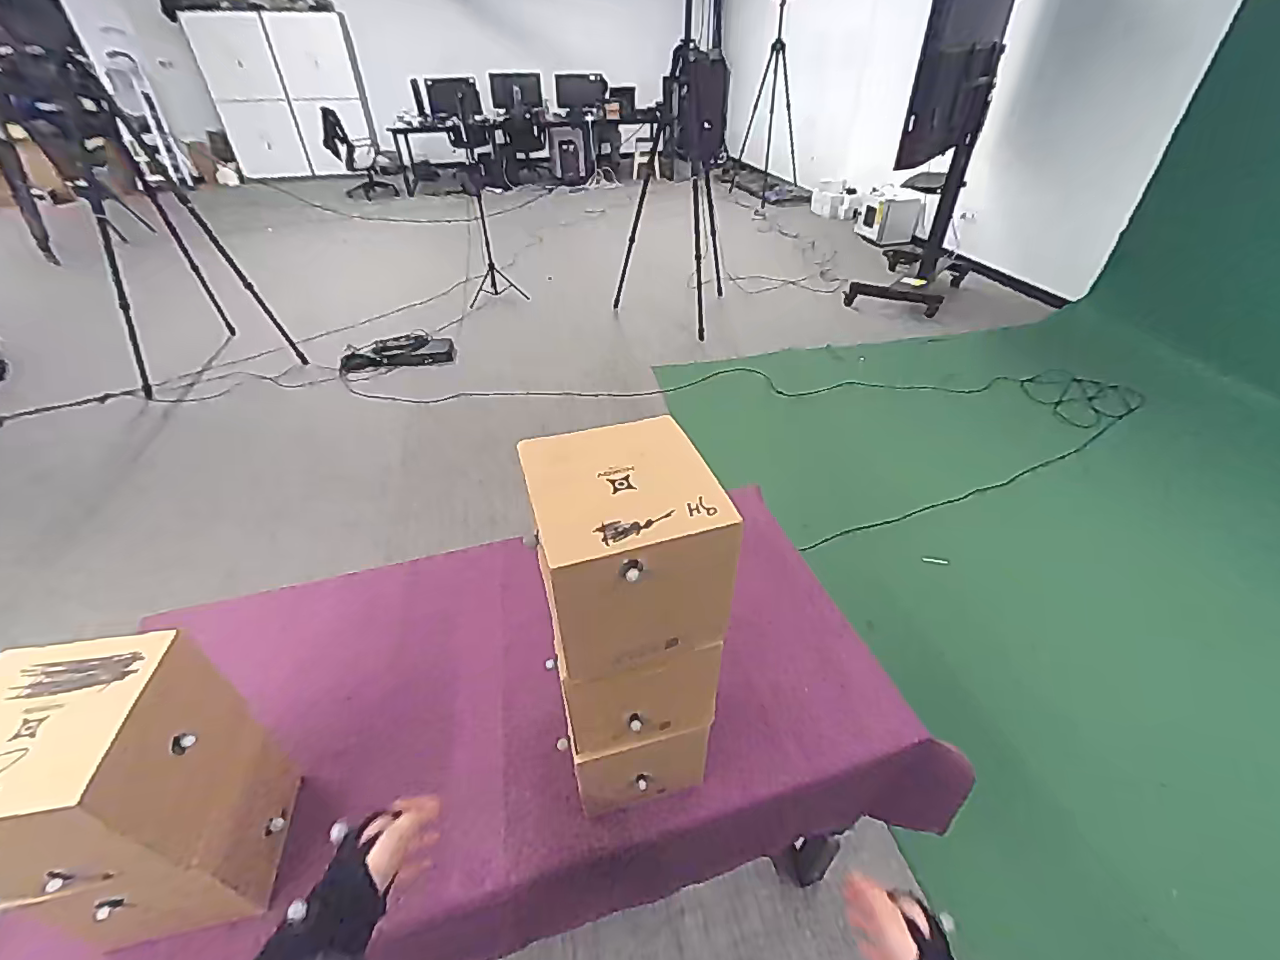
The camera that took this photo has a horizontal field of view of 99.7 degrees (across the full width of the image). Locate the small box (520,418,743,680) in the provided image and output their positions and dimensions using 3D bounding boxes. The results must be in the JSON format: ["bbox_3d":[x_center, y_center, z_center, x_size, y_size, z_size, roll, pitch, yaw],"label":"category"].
[{"bbox_3d":[-0.016,0.063,0.541,0.168,0.176,0.179,-13,41,-14],"label":"small box"}]

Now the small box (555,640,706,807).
[{"bbox_3d":[-0.016,0.321,0.744,0.168,0.176,0.179,-10,40,-12],"label":"small box"}]

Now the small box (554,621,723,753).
[{"bbox_3d":[-0.015,0.189,0.648,0.168,0.176,0.179,-10,41,-11],"label":"small box"}]

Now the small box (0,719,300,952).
[{"bbox_3d":[-0.544,0.416,0.636,0.179,0.176,0.168,-8,40,-10],"label":"small box"}]
